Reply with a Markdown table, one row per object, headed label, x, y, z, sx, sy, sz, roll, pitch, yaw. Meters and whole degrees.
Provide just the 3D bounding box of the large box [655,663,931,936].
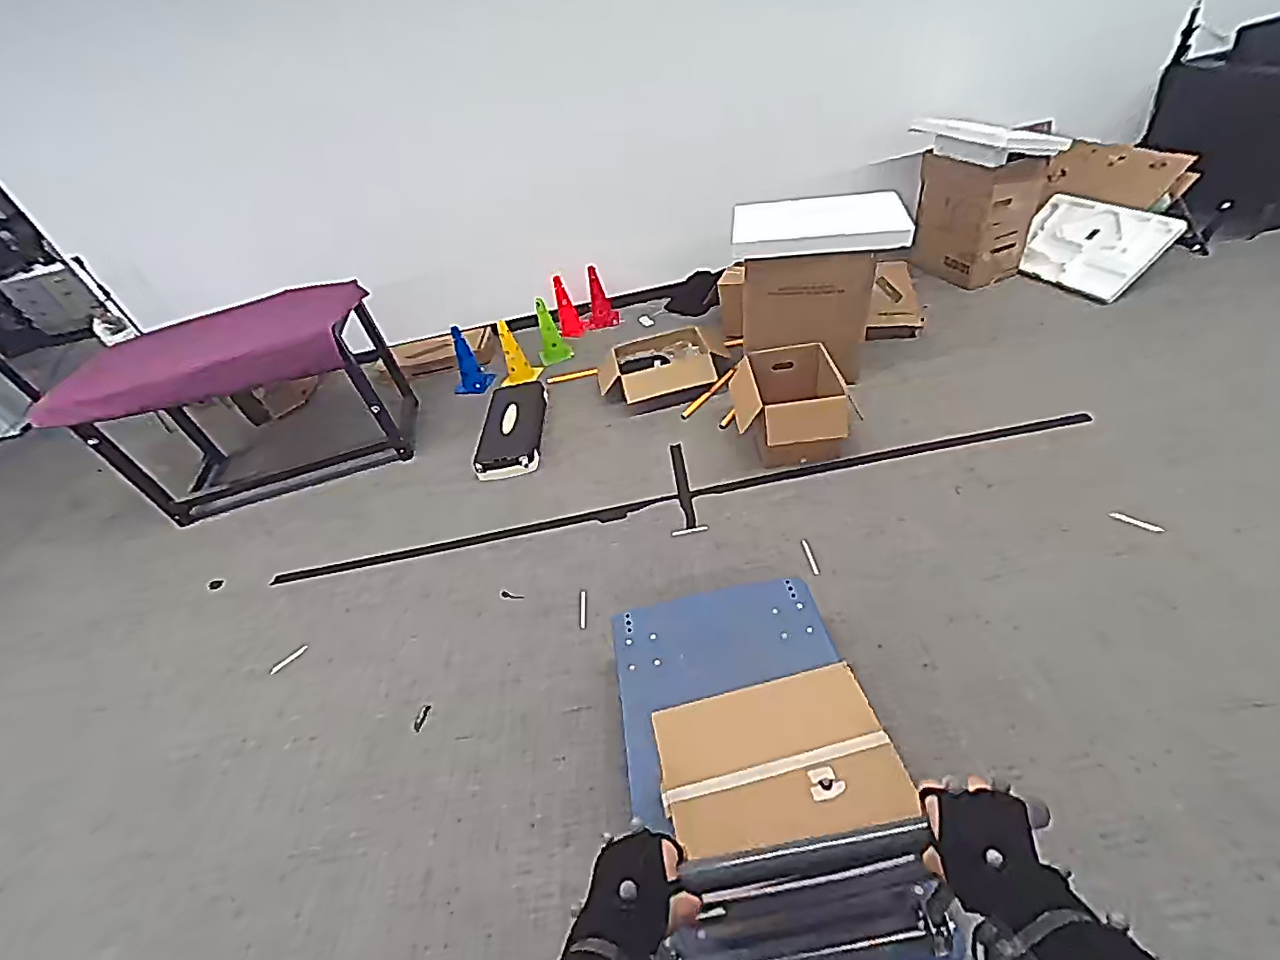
| label | x | y | z | sx | sy | sz | roll | pitch | yaw |
| --- | --- | --- | --- | --- | --- | --- | --- | --- | --- |
| large box | 0.271 | 0.623 | 1.062 | 0.408 | 0.320 | 0.320 | -14 | 41 | -2 |
